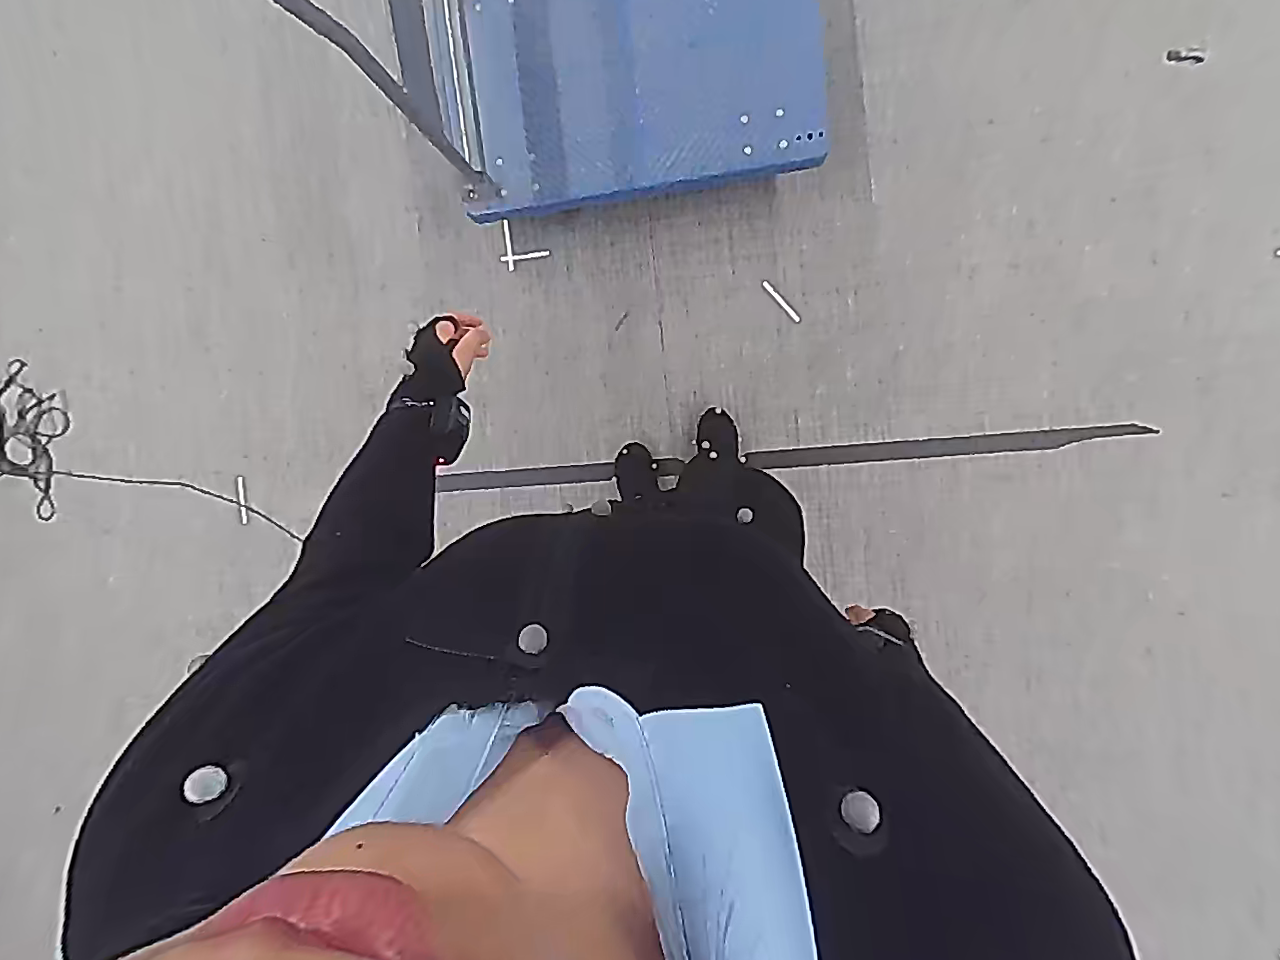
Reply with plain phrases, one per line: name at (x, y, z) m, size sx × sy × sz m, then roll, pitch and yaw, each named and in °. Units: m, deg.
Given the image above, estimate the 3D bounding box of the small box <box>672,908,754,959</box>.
small box at (0.161, 1.051, 1.129) m, size 0.168 × 0.176 × 0.179 m, roll -10°, pitch 91°, yaw 4°
